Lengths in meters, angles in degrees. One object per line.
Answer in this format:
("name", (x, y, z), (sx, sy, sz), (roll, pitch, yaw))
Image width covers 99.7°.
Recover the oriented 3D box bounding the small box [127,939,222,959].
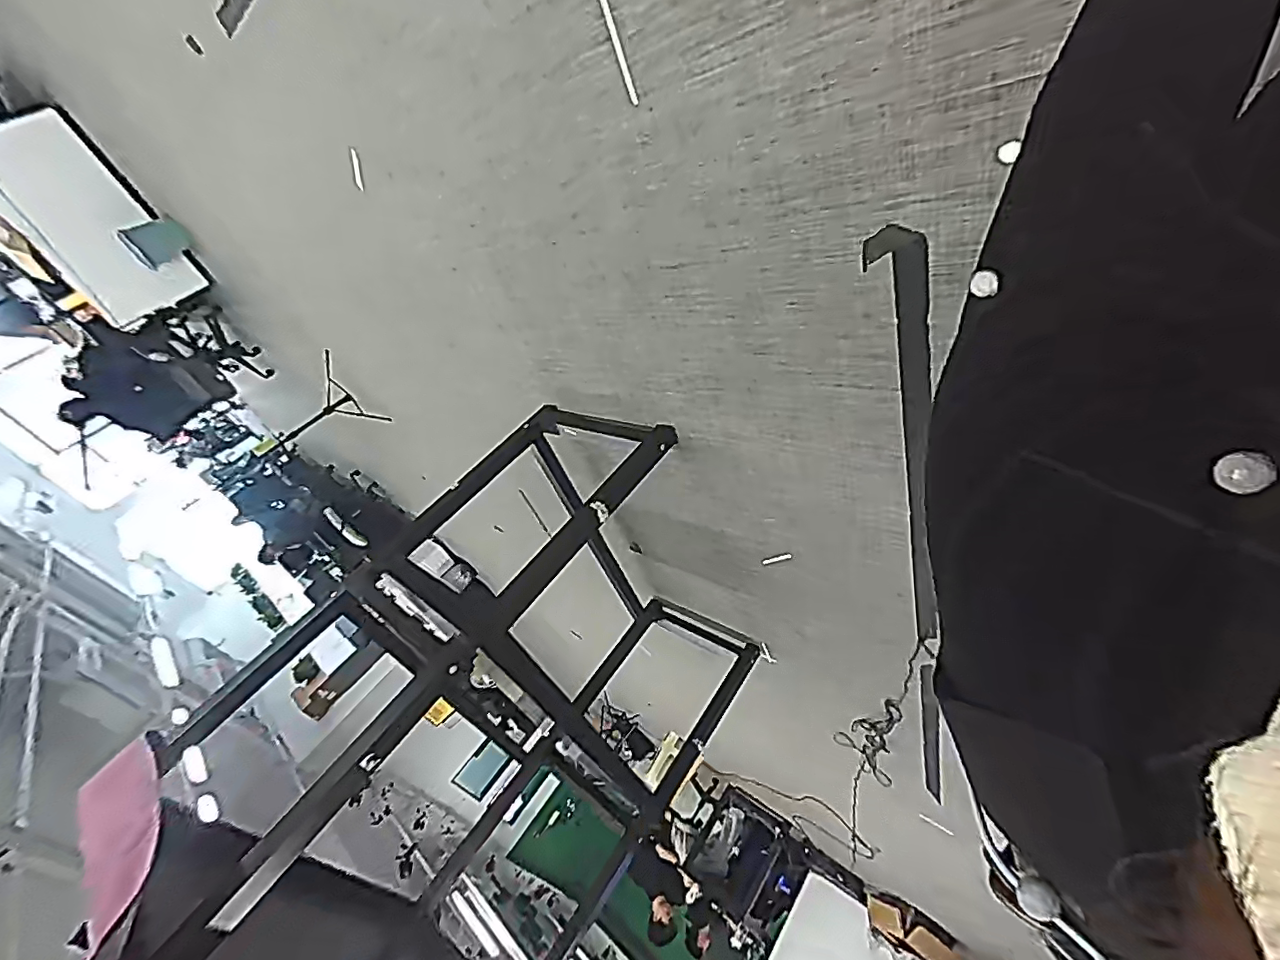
("small box", (-0.892, 0.987, 0.990), (0.179, 0.176, 0.168), (19, 146, 39))
